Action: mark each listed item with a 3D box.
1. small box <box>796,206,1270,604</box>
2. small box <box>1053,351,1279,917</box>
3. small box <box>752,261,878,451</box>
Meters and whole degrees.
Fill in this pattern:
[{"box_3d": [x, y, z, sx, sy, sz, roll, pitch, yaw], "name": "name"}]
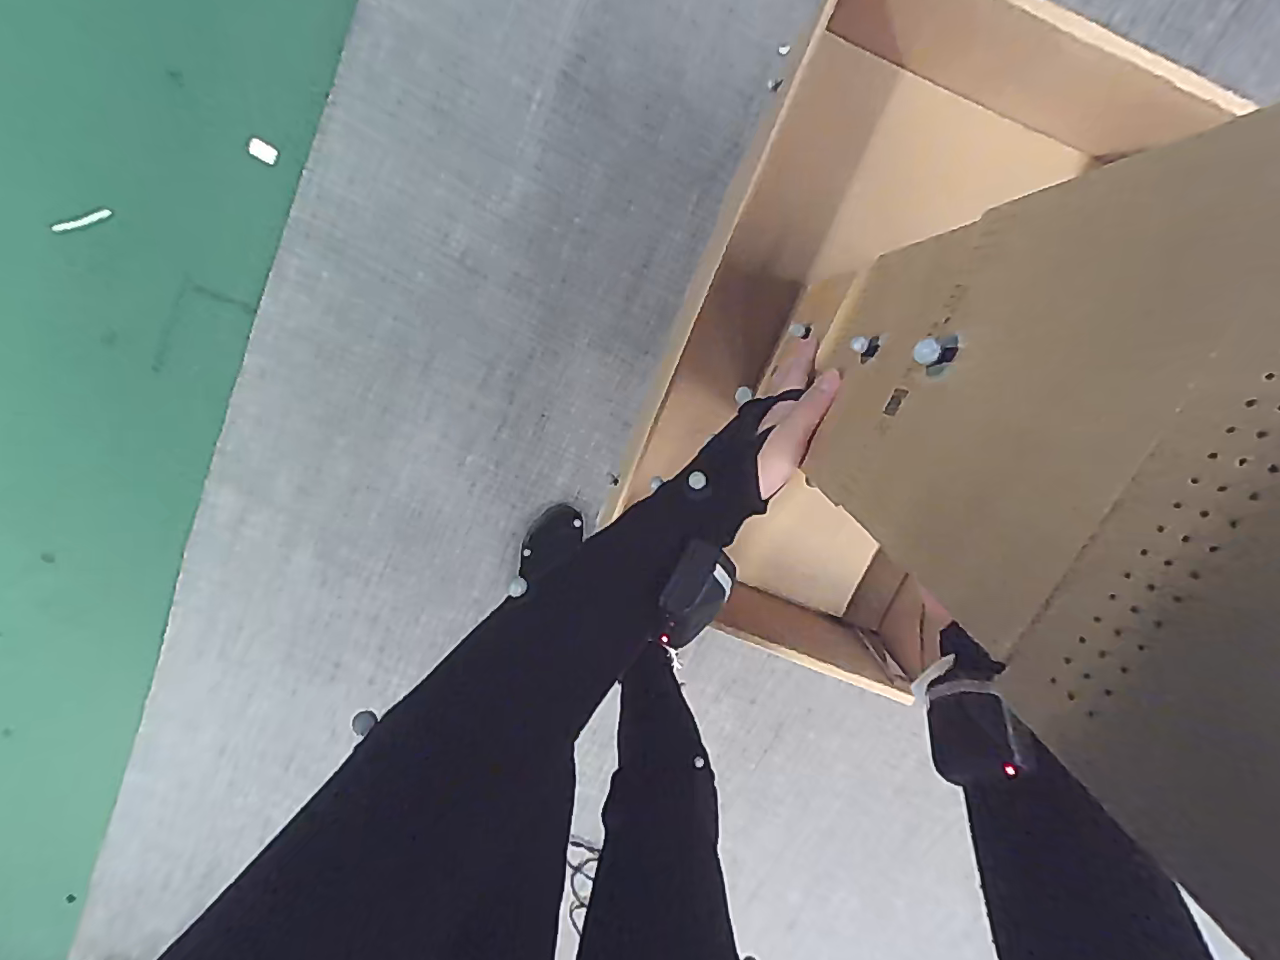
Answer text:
[{"box_3d": [0.227, -0.052, 0.377, 0.168, 0.176, 0.179, 23, 104, -5], "name": "small box"}, {"box_3d": [0.206, 0.031, 0.059, 0.168, 0.176, 0.179, 22, 105, -3], "name": "small box"}, {"box_3d": [0.230, -0.092, 0.536, 0.179, 0.176, 0.168, 23, 105, -4], "name": "small box"}]
